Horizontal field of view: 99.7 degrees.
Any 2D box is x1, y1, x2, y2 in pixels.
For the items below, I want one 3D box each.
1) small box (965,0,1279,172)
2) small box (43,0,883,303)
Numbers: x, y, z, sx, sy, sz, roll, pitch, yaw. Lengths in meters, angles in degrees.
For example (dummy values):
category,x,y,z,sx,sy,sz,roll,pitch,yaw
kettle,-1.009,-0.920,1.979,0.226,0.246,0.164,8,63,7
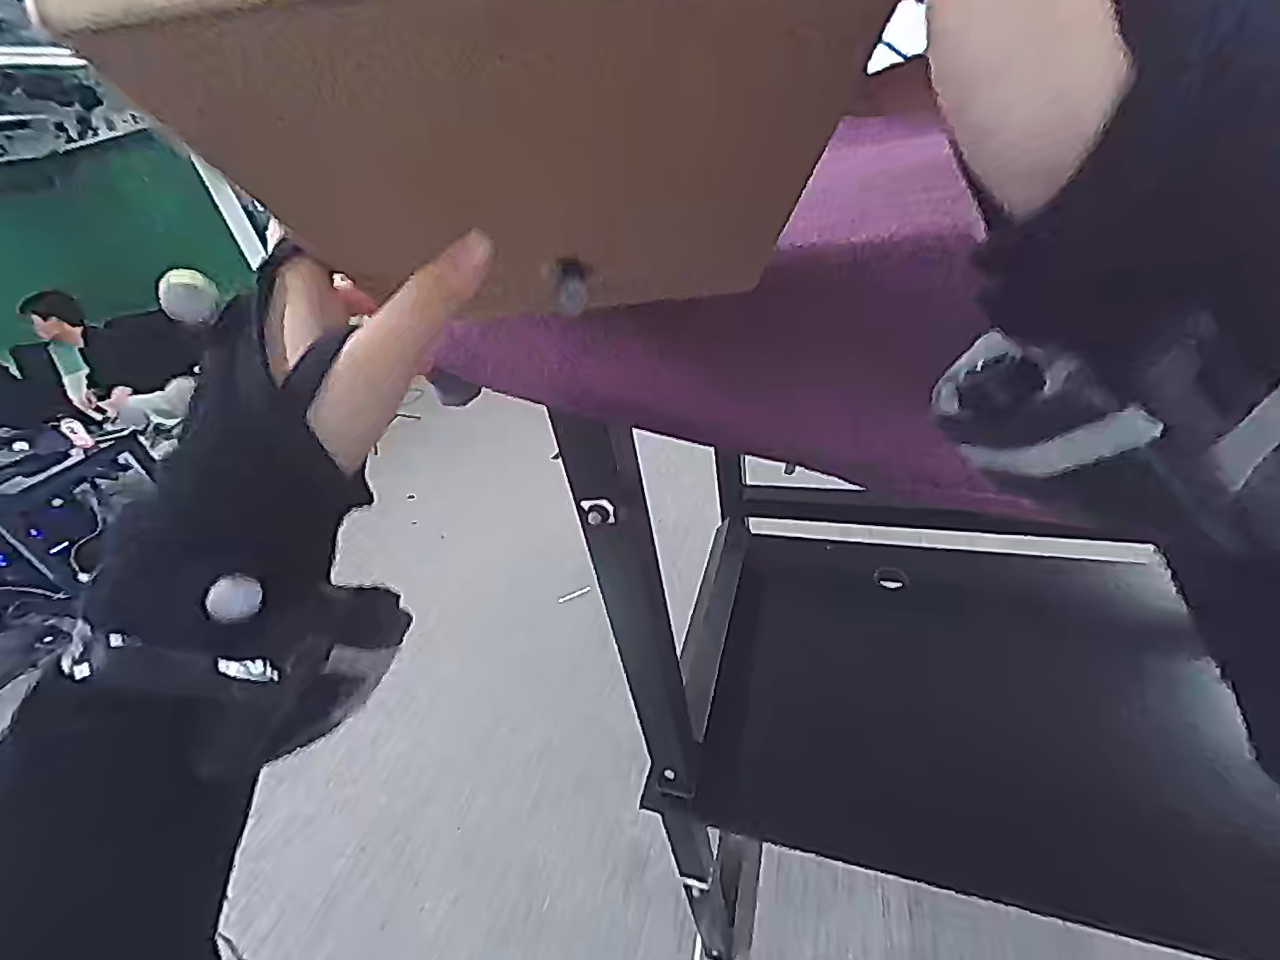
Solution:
category,x,y,z,sx,sy,sz,roll,pitch,yaw
small box,0.325,-0.308,0.336,0.179,0.176,0.168,2,35,20
small box,-0.040,-0.174,0.180,0.179,0.168,0.176,-6,-5,-1
